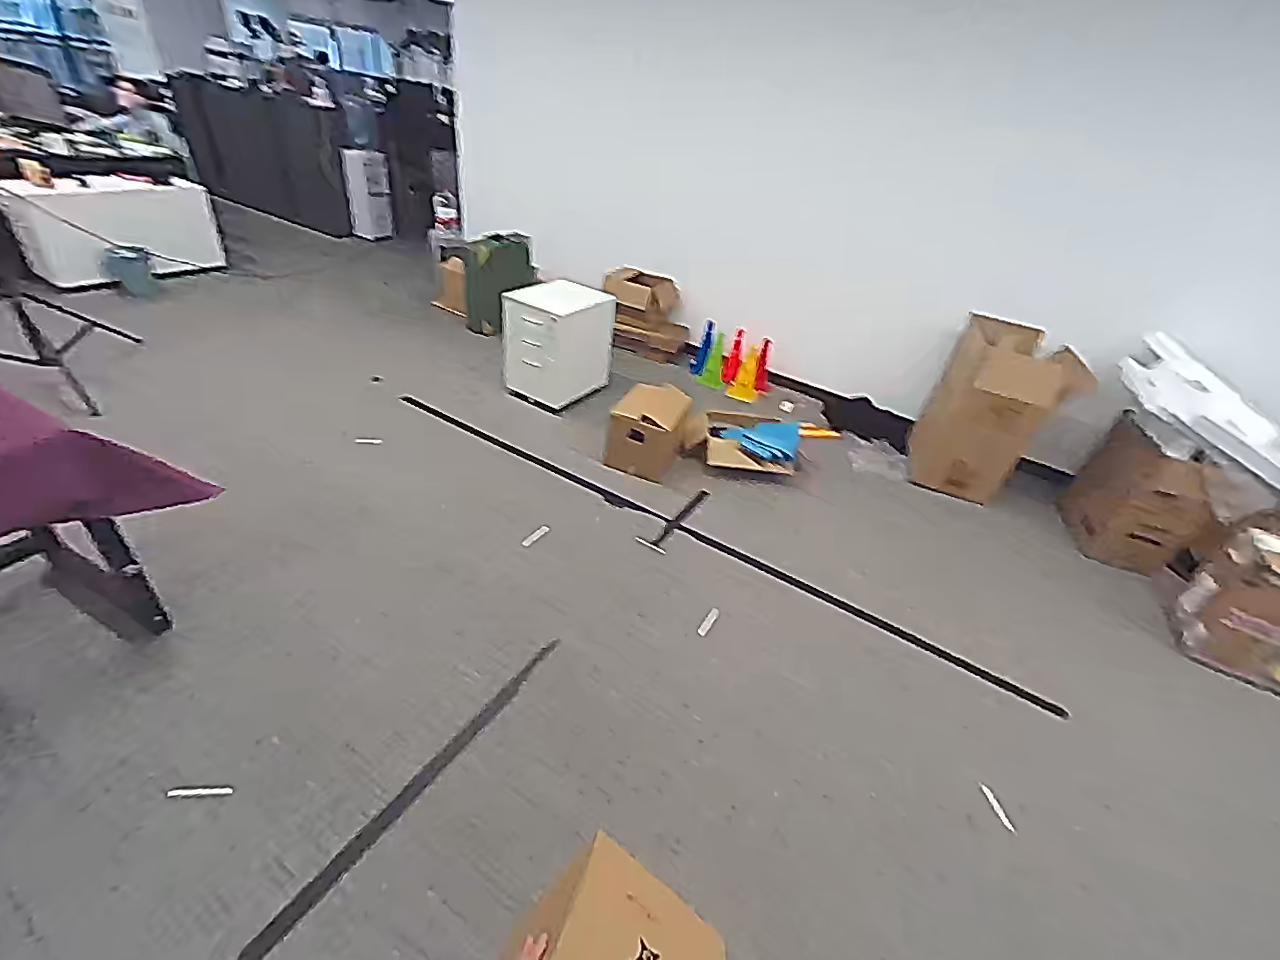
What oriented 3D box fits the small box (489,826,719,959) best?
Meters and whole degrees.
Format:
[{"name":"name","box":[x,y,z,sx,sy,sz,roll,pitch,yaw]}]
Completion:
[{"name":"small box","box":[-0.049,0.467,0.468,0.168,0.176,0.179,38,7,6]}]
